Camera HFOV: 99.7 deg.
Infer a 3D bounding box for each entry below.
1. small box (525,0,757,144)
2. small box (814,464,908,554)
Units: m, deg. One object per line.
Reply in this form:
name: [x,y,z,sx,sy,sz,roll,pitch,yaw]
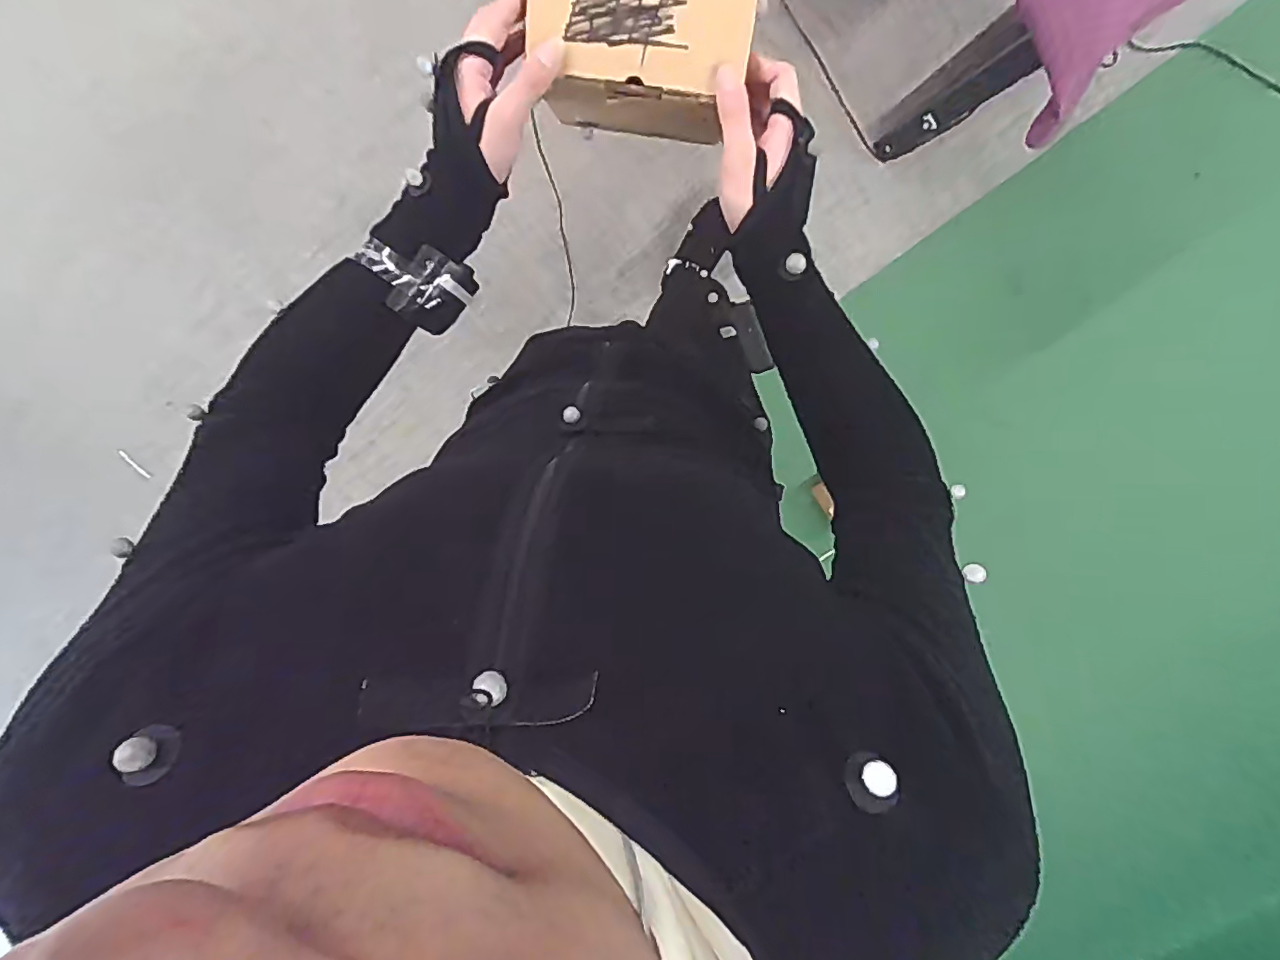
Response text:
small box: [0.008,-0.399,0.445,0.168,0.176,0.179,7,111,-2]
small box: [0.647,0.080,1.599,0.168,0.176,0.179,-36,105,10]
